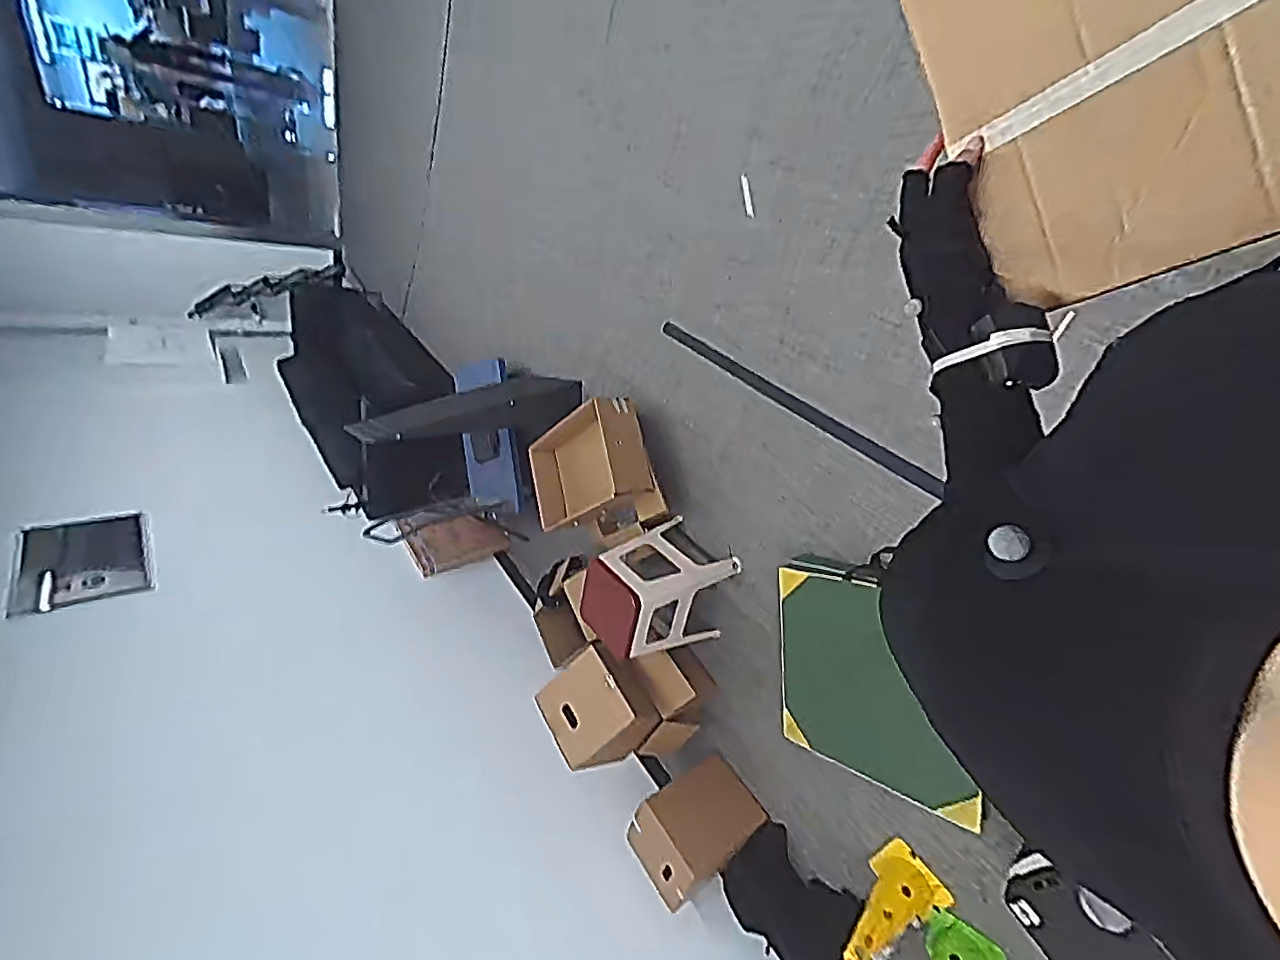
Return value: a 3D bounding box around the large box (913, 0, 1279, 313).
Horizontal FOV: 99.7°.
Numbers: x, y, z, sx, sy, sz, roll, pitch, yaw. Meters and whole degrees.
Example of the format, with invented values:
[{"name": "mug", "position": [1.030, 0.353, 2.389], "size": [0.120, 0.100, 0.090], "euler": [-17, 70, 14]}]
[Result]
[{"name": "large box", "position": [0.521, -0.373, 0.451], "size": [0.408, 0.320, 0.320], "euler": [-15, 96, 47]}]
